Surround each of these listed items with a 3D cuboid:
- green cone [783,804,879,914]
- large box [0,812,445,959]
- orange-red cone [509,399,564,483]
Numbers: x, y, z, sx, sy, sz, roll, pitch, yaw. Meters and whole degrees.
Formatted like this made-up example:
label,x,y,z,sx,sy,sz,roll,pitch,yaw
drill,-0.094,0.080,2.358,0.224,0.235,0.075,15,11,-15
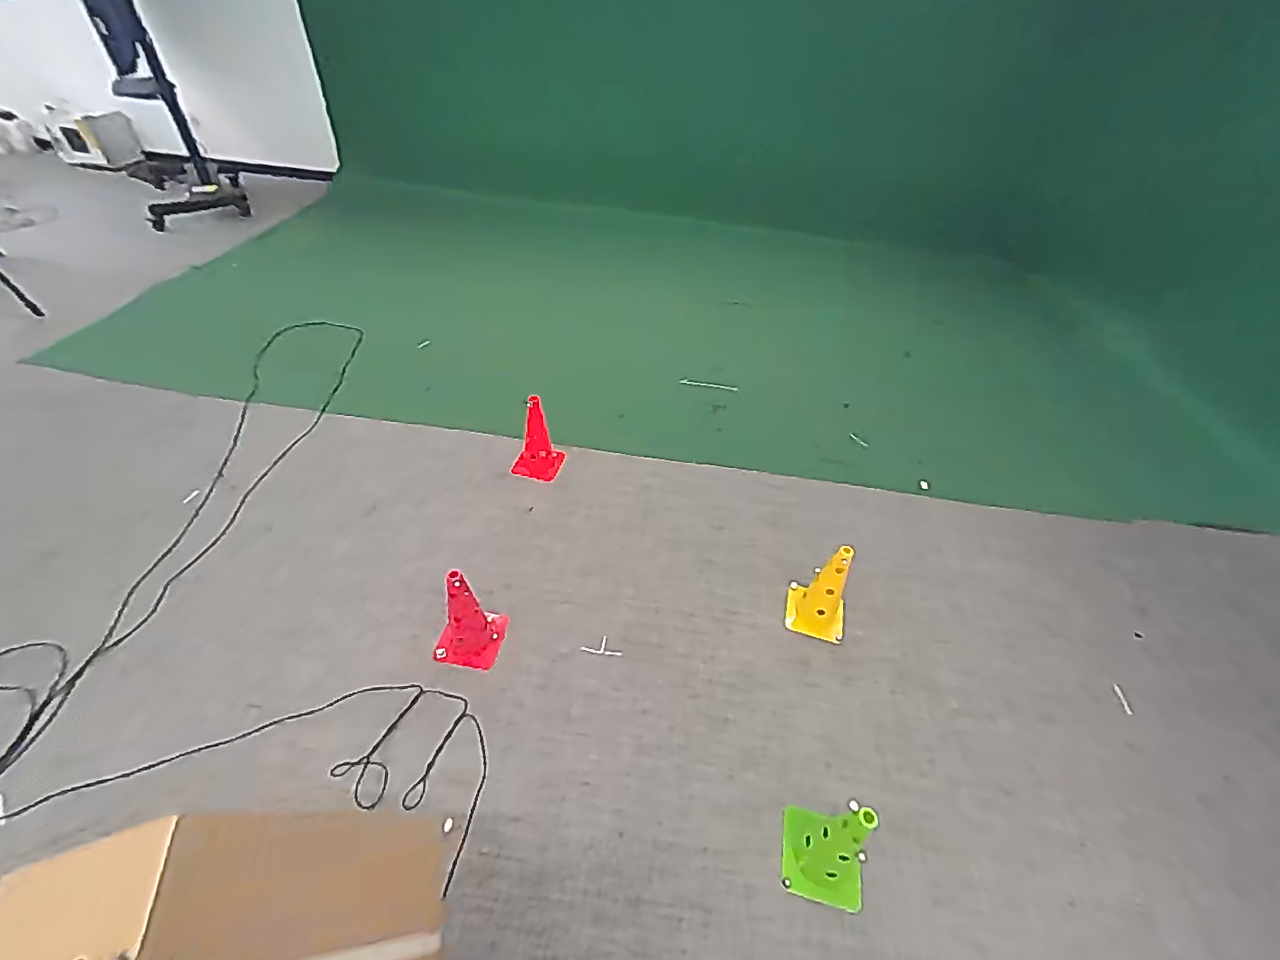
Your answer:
label,x,y,z,sx,sy,sz,roll,pitch,yaw
green cone,0.489,0.863,1.294,0.200,0.368,0.202,12,43,6
large box,-0.505,0.627,0.667,0.320,0.408,0.320,-24,52,14
orange-red cone,-0.449,-0.187,2.286,0.199,0.360,0.198,12,43,9
